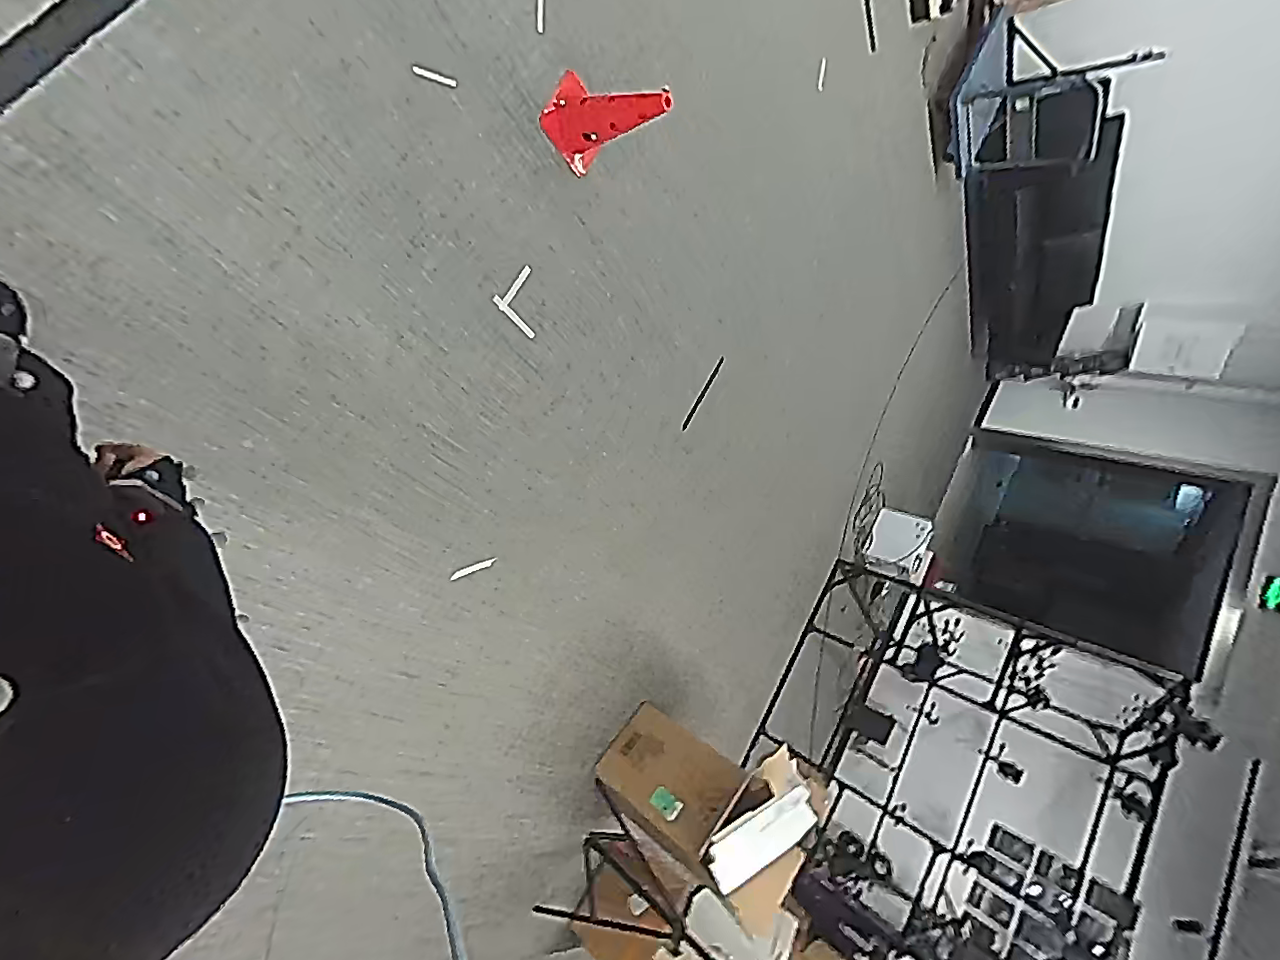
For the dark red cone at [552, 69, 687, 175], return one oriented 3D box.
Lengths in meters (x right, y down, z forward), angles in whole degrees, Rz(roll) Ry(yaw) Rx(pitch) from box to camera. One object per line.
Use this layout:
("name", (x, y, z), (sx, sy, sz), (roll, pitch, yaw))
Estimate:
("dark red cone", (-0.035, -0.977, 1.441), (0.201, 0.394, 0.202), (36, 77, -49))
